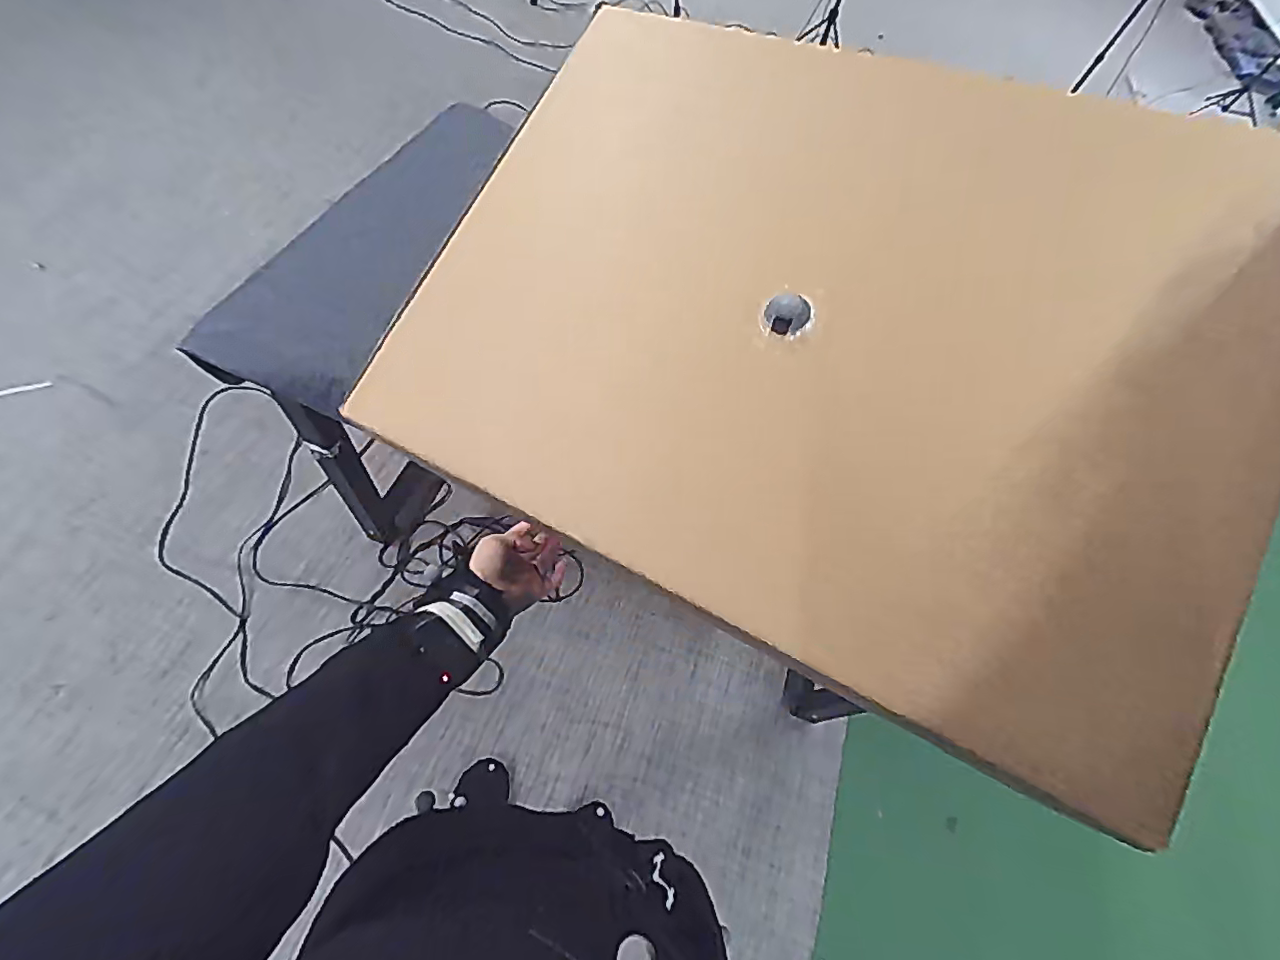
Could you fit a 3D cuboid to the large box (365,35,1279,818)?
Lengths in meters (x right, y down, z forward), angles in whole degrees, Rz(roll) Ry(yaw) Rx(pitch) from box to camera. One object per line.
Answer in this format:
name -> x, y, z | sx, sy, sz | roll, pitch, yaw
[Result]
large box -> 0.104, -0.038, 0.417 | 0.408, 0.320, 0.320 | 24, 80, 16
